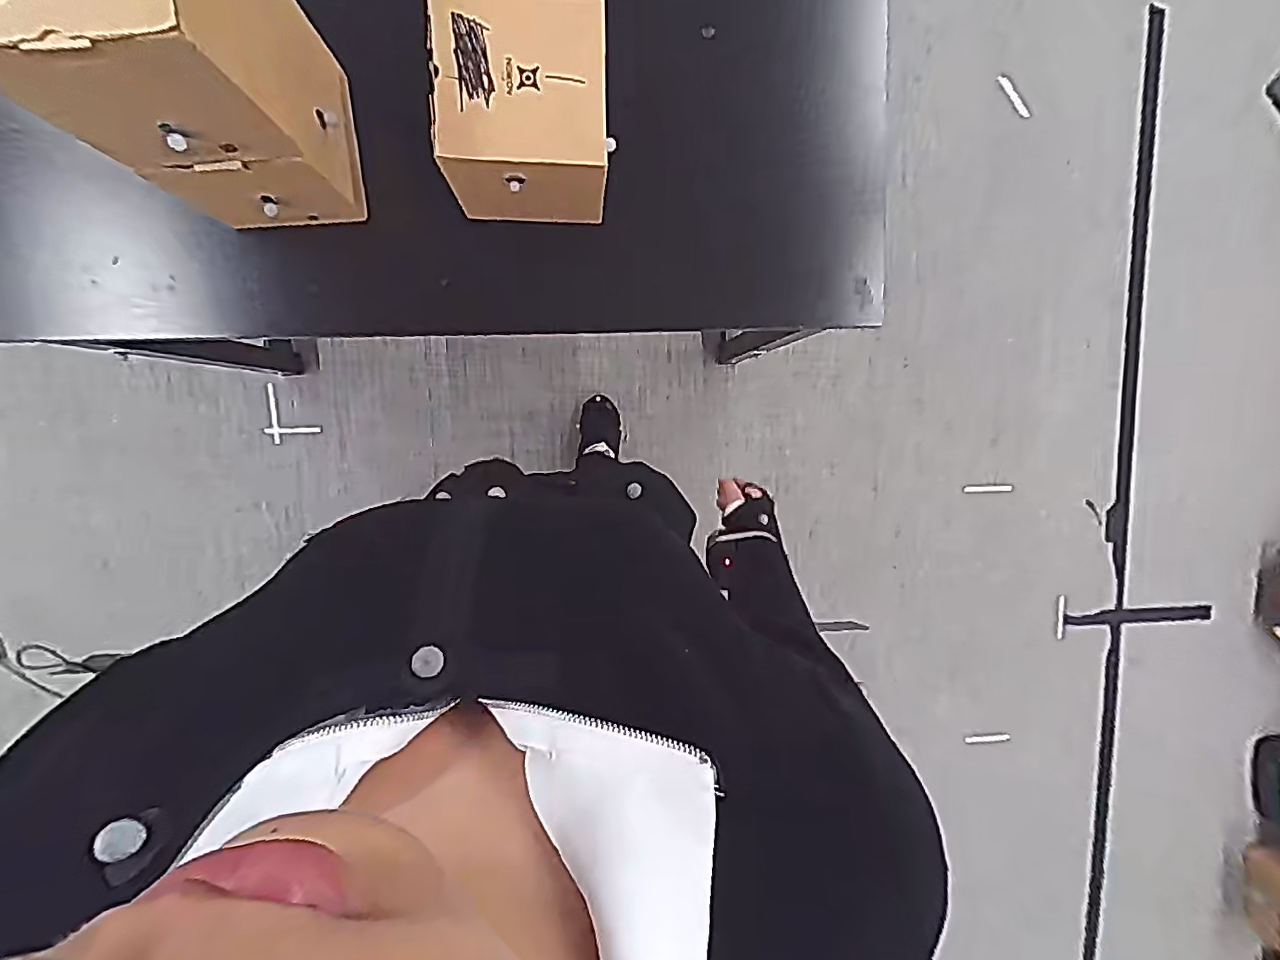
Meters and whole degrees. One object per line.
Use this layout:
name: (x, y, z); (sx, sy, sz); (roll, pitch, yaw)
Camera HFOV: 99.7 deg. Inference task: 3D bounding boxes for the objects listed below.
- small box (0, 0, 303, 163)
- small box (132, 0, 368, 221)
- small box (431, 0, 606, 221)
small box: (-0.410, -0.391, 0.437); (0.168, 0.176, 0.179); (-8, 97, -4)
small box: (-0.427, -0.404, 0.601); (0.168, 0.176, 0.179); (-6, 97, -5)
small box: (-0.129, -0.418, 0.629); (0.179, 0.176, 0.168); (-1, 96, -6)
